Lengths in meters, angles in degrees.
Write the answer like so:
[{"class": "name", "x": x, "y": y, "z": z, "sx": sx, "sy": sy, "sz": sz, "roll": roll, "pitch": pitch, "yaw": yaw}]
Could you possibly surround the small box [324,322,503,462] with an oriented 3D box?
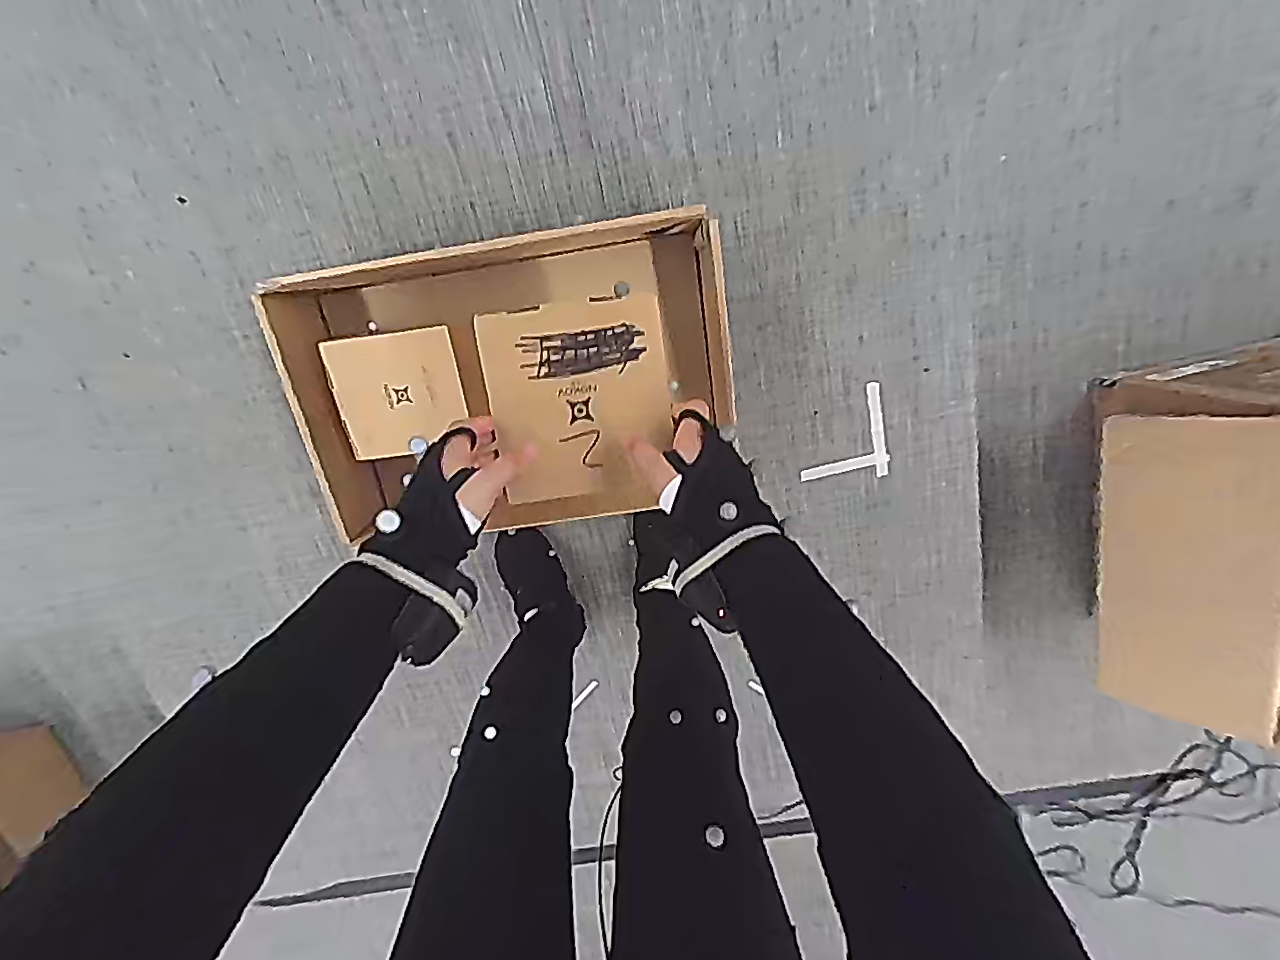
[{"class": "small box", "x": -0.322, "y": -0.138, "z": 0.810, "sx": 0.179, "sy": 0.176, "sz": 0.168, "roll": -8, "pitch": 111, "yaw": 1}]
